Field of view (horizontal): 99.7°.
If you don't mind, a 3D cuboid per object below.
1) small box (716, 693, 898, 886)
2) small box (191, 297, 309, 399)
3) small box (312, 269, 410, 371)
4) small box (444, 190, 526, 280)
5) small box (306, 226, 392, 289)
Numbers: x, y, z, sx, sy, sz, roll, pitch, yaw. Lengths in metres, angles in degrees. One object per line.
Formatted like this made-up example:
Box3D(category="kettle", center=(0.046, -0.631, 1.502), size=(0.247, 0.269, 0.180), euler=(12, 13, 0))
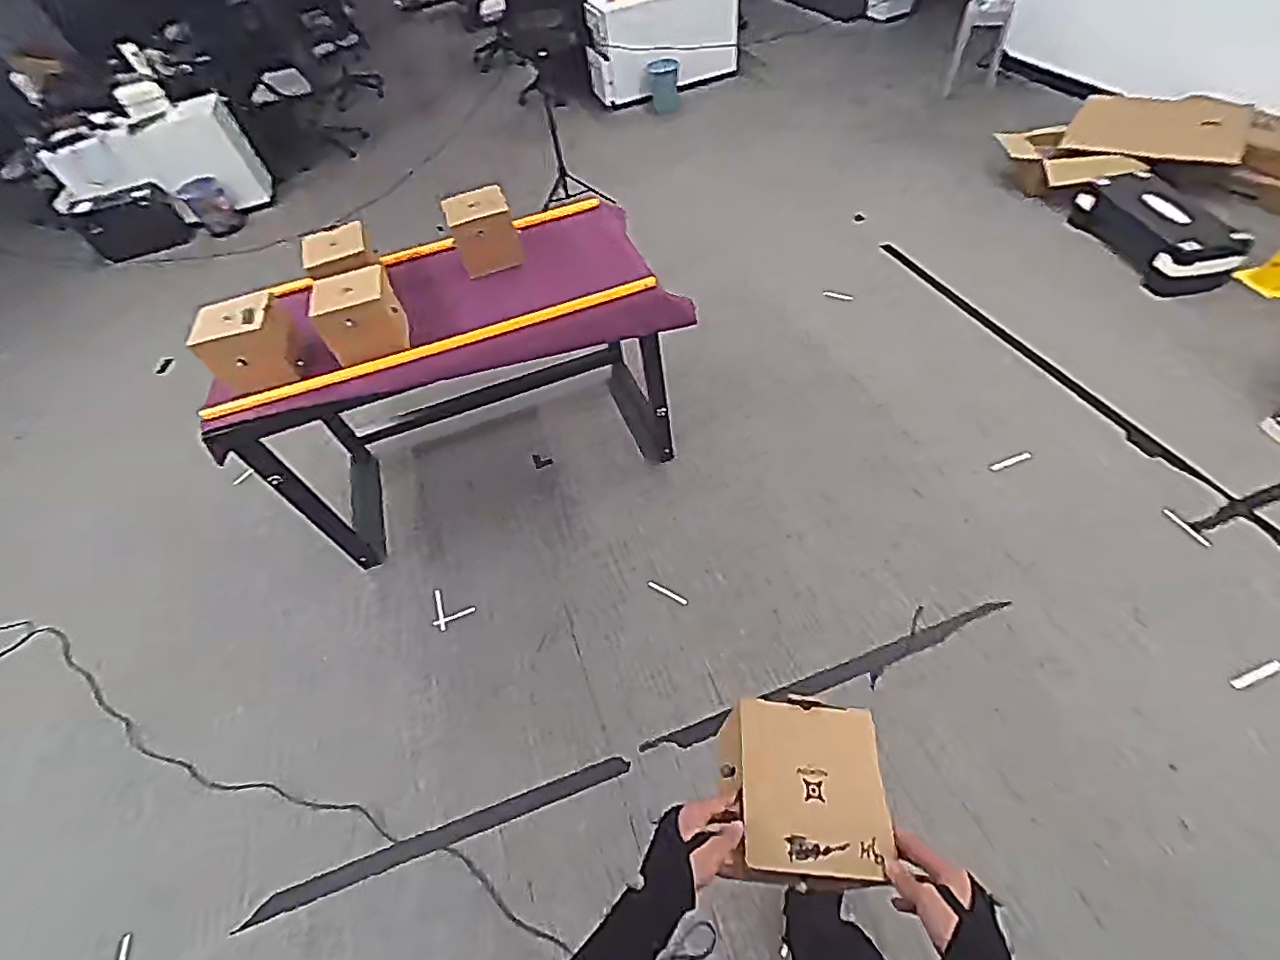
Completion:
Box3D(category="small box", center=(0.189, 0.388, 0.675), size=(0.168, 0.176, 0.179), euler=(5, 51, 0))
Box3D(category="small box", center=(-0.990, -0.338, 1.393), size=(0.179, 0.176, 0.168), euler=(-16, 53, -4))
Box3D(category="small box", center=(-0.718, -0.414, 1.414), size=(0.179, 0.176, 0.168), euler=(-18, 52, -4))
Box3D(category="small box", center=(-0.458, -0.722, 1.605), size=(0.179, 0.176, 0.168), euler=(-19, 54, -6))
Box3D(category="small box", center=(-0.839, -0.598, 1.570), size=(0.168, 0.176, 0.179), euler=(-22, 54, -7))
